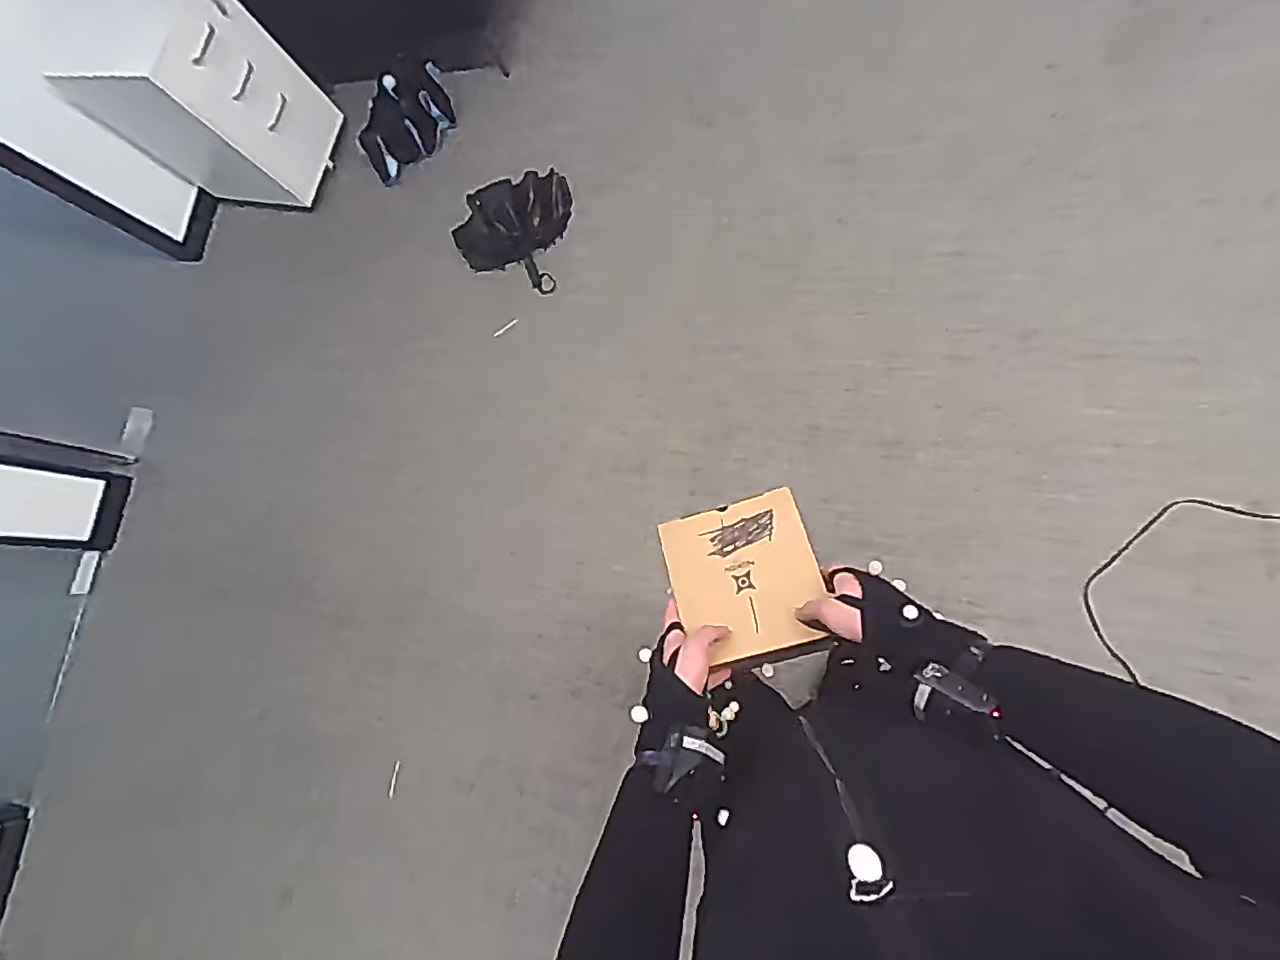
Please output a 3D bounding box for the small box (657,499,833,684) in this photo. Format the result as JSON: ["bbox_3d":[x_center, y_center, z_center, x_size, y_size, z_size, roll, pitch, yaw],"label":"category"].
[{"bbox_3d":[0.134,0.151,0.694,0.168,0.176,0.179,-18,64,9],"label":"small box"}]
